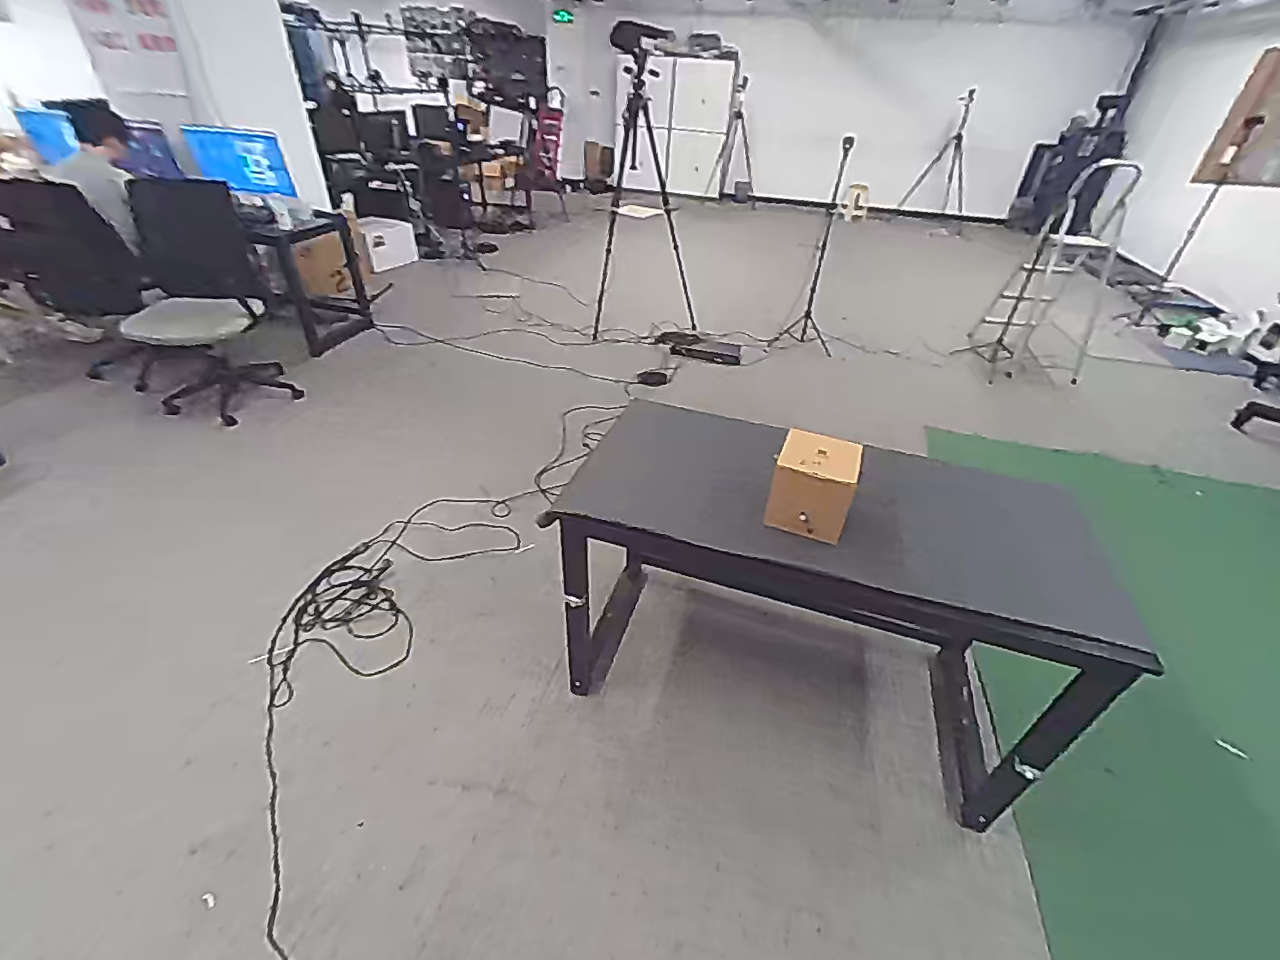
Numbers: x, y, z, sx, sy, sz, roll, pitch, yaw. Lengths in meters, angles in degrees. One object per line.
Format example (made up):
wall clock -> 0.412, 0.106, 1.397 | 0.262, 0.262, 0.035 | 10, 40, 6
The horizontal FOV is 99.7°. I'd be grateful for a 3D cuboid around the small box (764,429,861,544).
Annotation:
small box -> 0.387, 0.012, 1.221 | 0.168, 0.176, 0.179 | 15, 37, 17
